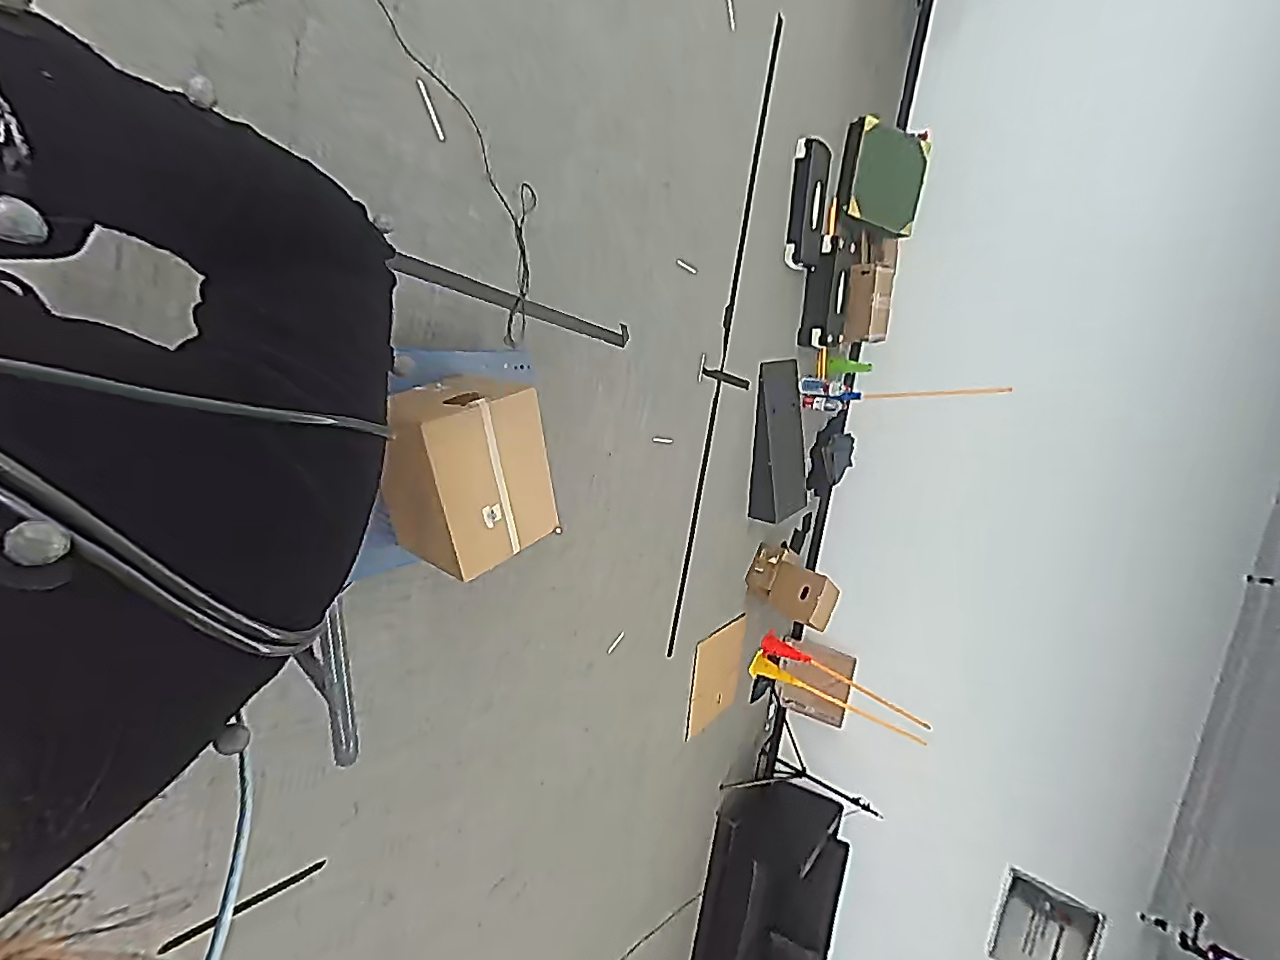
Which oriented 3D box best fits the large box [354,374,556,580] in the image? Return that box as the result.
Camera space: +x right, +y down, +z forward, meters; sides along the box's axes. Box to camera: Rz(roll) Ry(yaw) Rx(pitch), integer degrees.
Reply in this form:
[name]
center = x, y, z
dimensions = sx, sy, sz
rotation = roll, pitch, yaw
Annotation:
[large box]
center = -0.460, -0.026, 1.384
dimensions = 0.320, 0.320, 0.408
rotation = -31, 125, -42
